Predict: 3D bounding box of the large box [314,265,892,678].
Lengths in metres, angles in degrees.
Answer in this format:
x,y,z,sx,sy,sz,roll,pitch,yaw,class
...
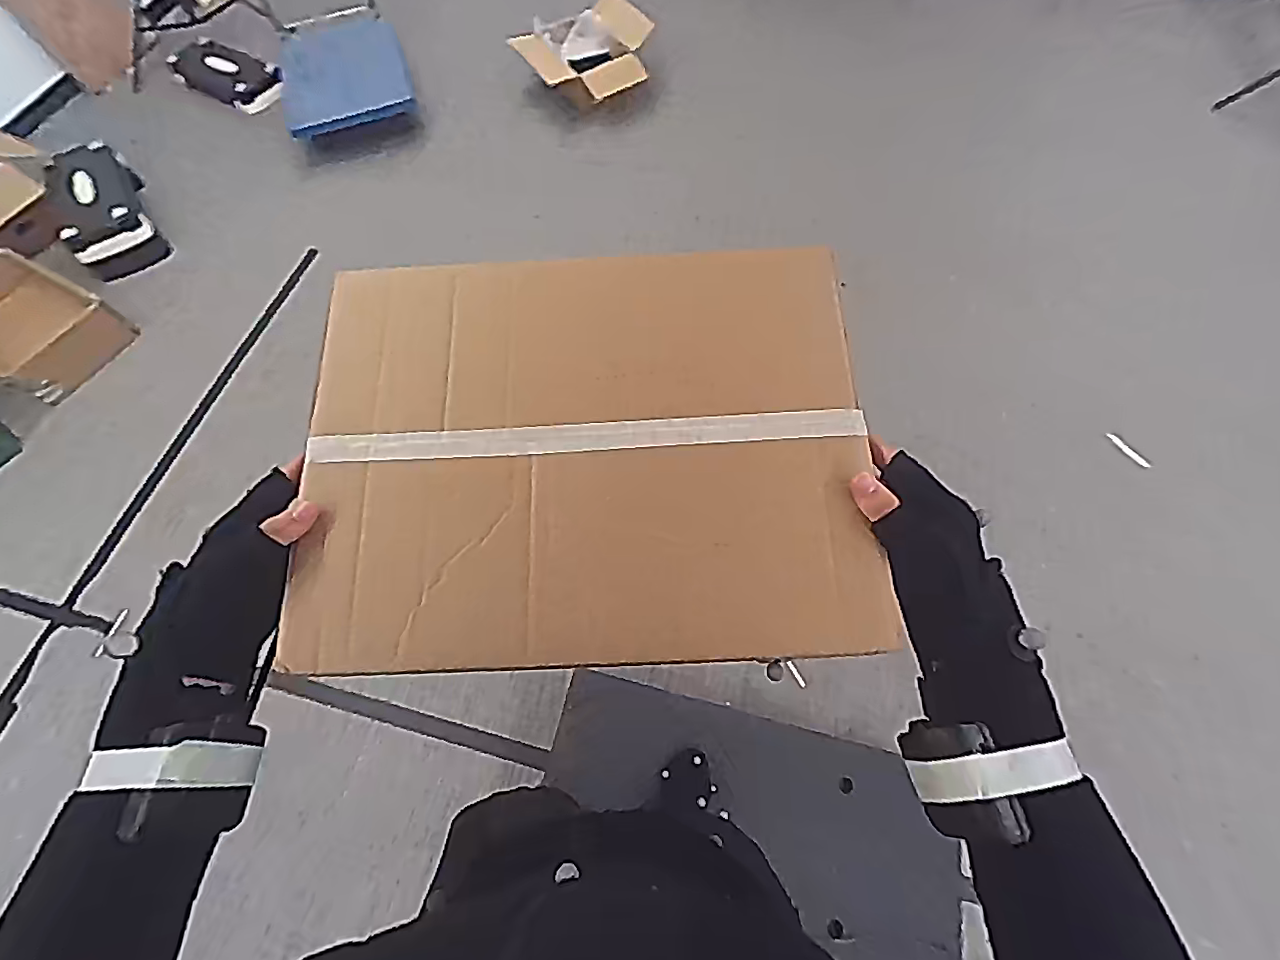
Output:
x,y,z,sx,sy,sz,roll,pitch,yaw,class
-0.027,0.021,0.551,0.408,0.320,0.320,-2,72,2,large box

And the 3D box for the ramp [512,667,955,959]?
x,y,z,sx,sy,sz,roll,pitch,yaw,class
0.258,0.803,1.263,0.991,0.206,0.509,10,64,7,ramp
